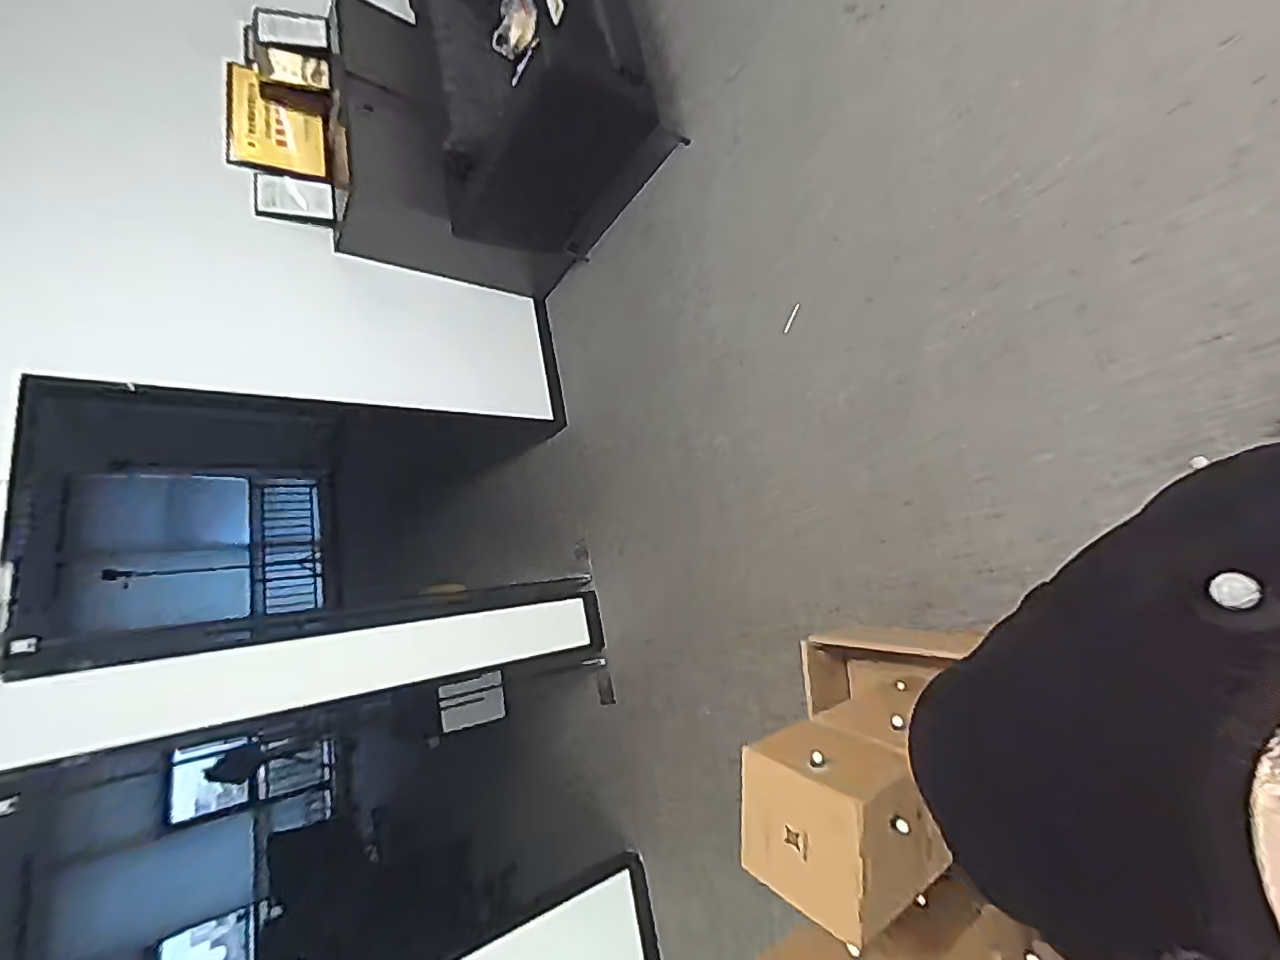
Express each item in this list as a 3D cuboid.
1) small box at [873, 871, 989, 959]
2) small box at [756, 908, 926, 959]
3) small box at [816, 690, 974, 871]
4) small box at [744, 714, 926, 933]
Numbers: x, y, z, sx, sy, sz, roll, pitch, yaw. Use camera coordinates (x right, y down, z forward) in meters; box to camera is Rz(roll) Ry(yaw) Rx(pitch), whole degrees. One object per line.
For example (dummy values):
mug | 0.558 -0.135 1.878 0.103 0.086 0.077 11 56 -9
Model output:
small box | 0.405 0.722 0.811 0.168 0.176 0.179 -13 77 51
small box | 0.276 0.714 0.709 0.168 0.176 0.179 -14 77 51
small box | 0.393 0.441 0.832 0.179 0.176 0.168 -1 88 52
small box | 0.263 0.438 0.731 0.179 0.176 0.168 1 89 53
